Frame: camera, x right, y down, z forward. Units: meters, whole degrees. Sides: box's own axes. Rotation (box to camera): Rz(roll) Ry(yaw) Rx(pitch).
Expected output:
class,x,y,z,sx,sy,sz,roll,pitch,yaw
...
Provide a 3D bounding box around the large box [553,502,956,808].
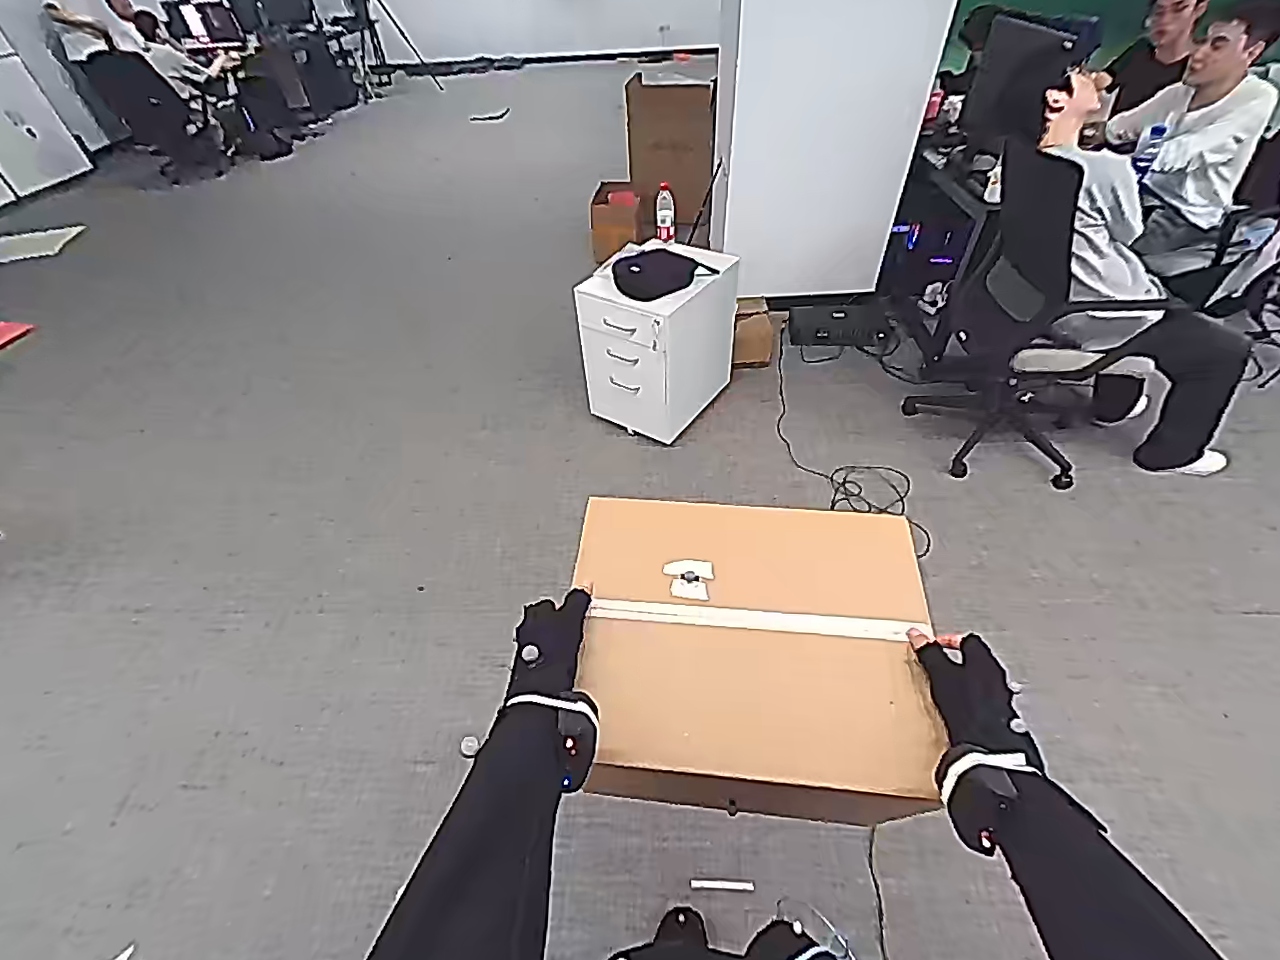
class,x,y,z,sx,sy,sz,roll,pitch,yaw
large box,0.130,0.246,0.741,0.408,0.320,0.320,3,54,6
